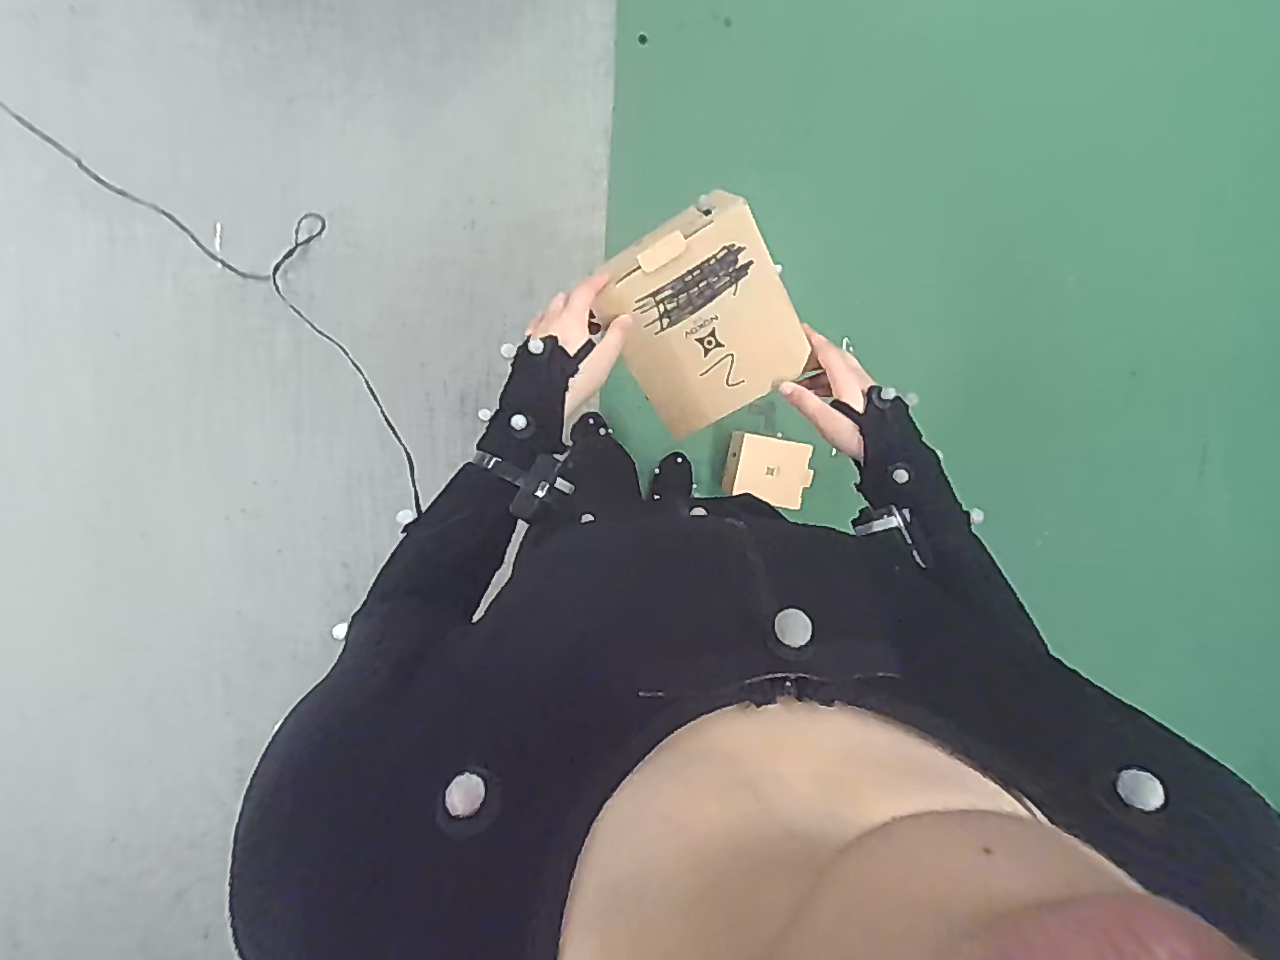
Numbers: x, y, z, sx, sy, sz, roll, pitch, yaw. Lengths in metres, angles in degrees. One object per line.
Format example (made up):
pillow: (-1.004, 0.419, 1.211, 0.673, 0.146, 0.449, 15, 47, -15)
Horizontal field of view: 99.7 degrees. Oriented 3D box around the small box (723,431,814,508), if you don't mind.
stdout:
small box: (0.324, -0.032, 1.401, 0.179, 0.176, 0.168, 10, 96, -3)
